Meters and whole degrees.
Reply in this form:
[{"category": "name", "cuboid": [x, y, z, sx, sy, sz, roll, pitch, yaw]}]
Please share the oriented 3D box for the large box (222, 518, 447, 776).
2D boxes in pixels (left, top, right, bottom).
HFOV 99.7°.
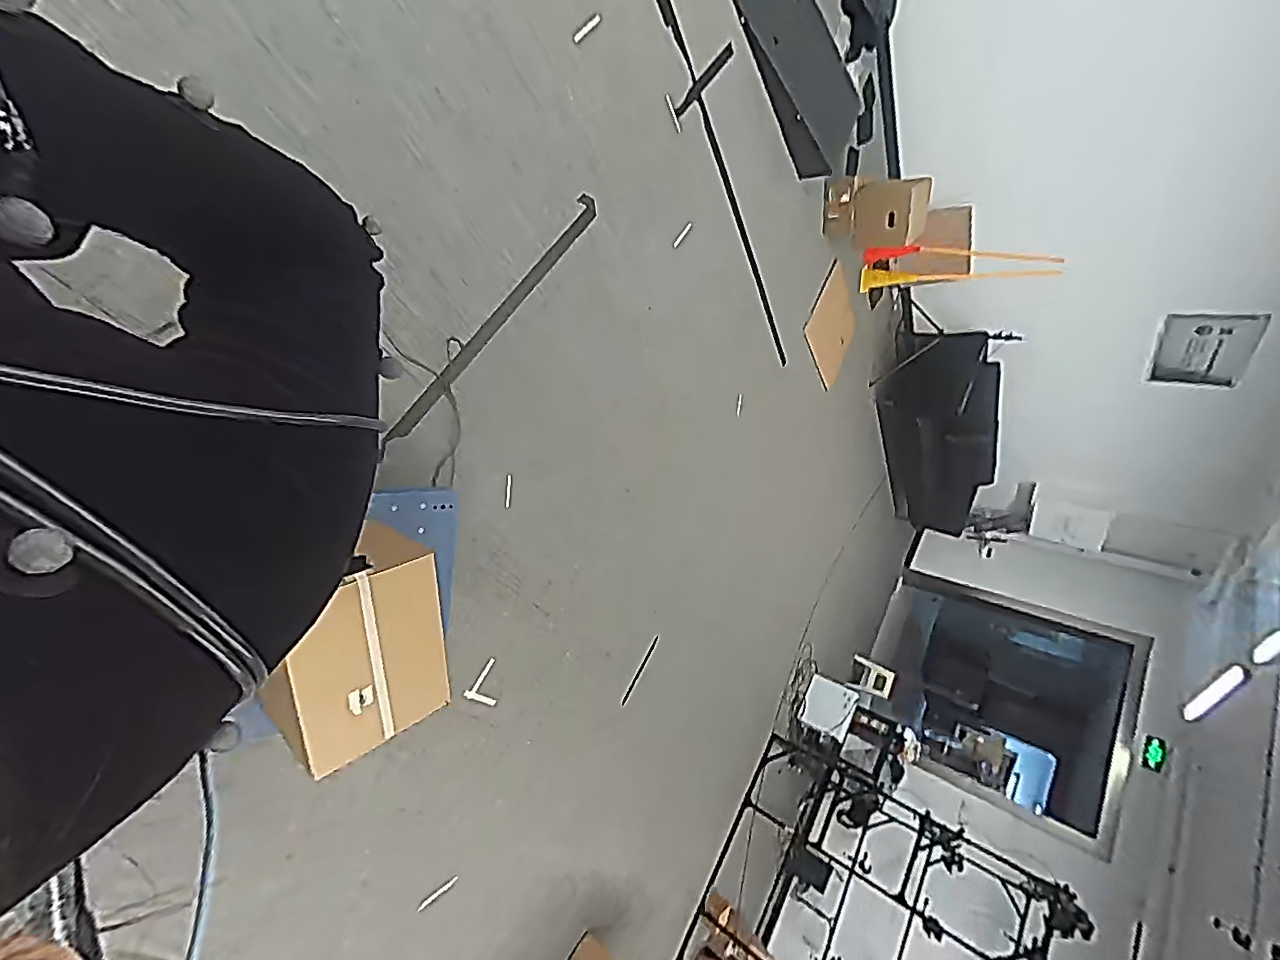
[{"category": "large box", "cuboid": [-0.677, 0.345, 1.225, 0.320, 0.320, 0.408, -19, 117, -46]}]
